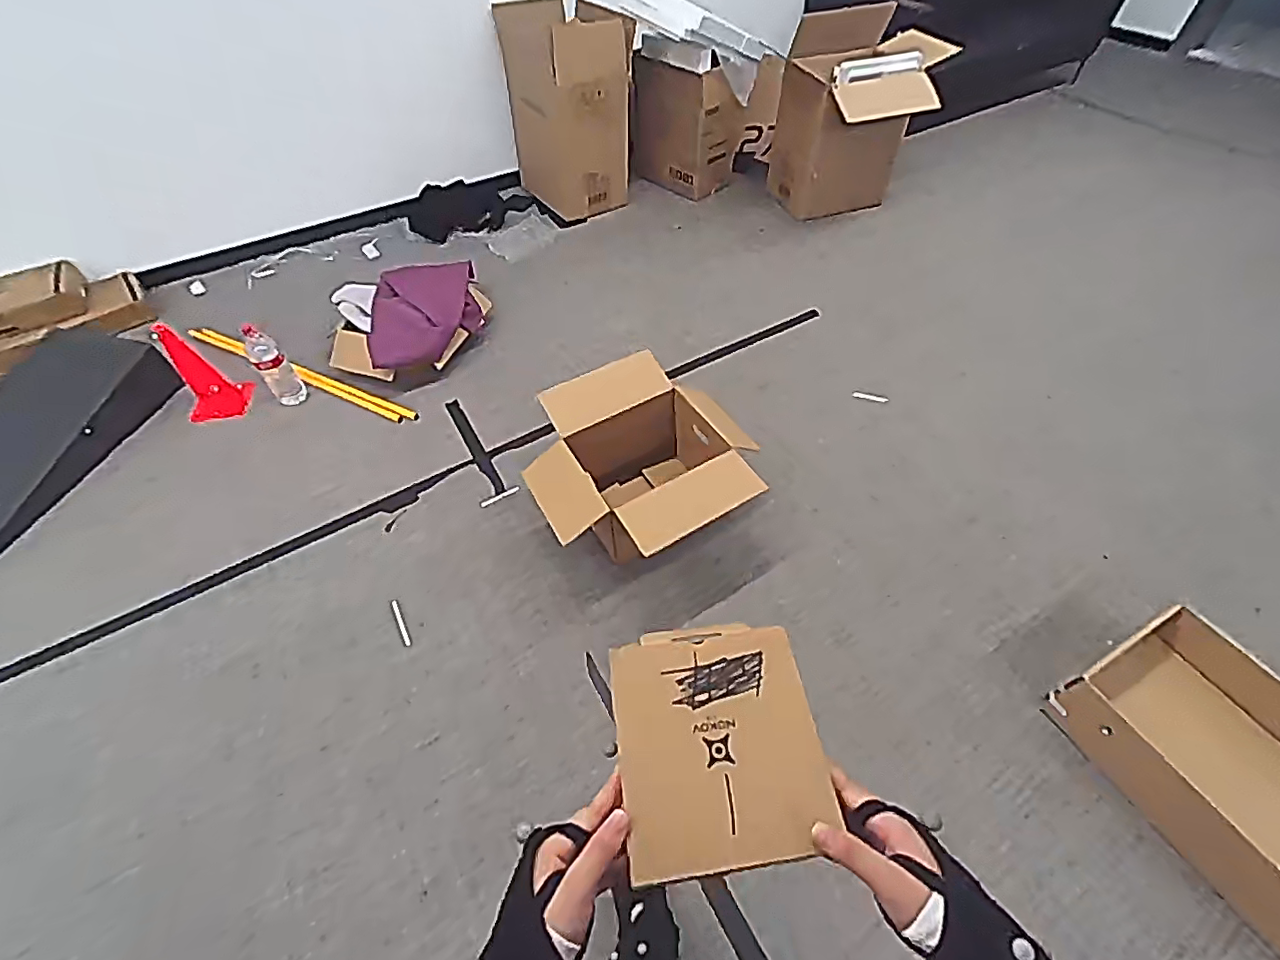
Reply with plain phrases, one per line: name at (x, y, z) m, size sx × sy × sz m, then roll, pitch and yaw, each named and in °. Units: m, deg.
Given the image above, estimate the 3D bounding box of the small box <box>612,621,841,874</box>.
small box at (0.061, 0.257, 0.517) m, size 0.168 × 0.176 × 0.179 m, roll -6°, pitch 53°, yaw -5°
